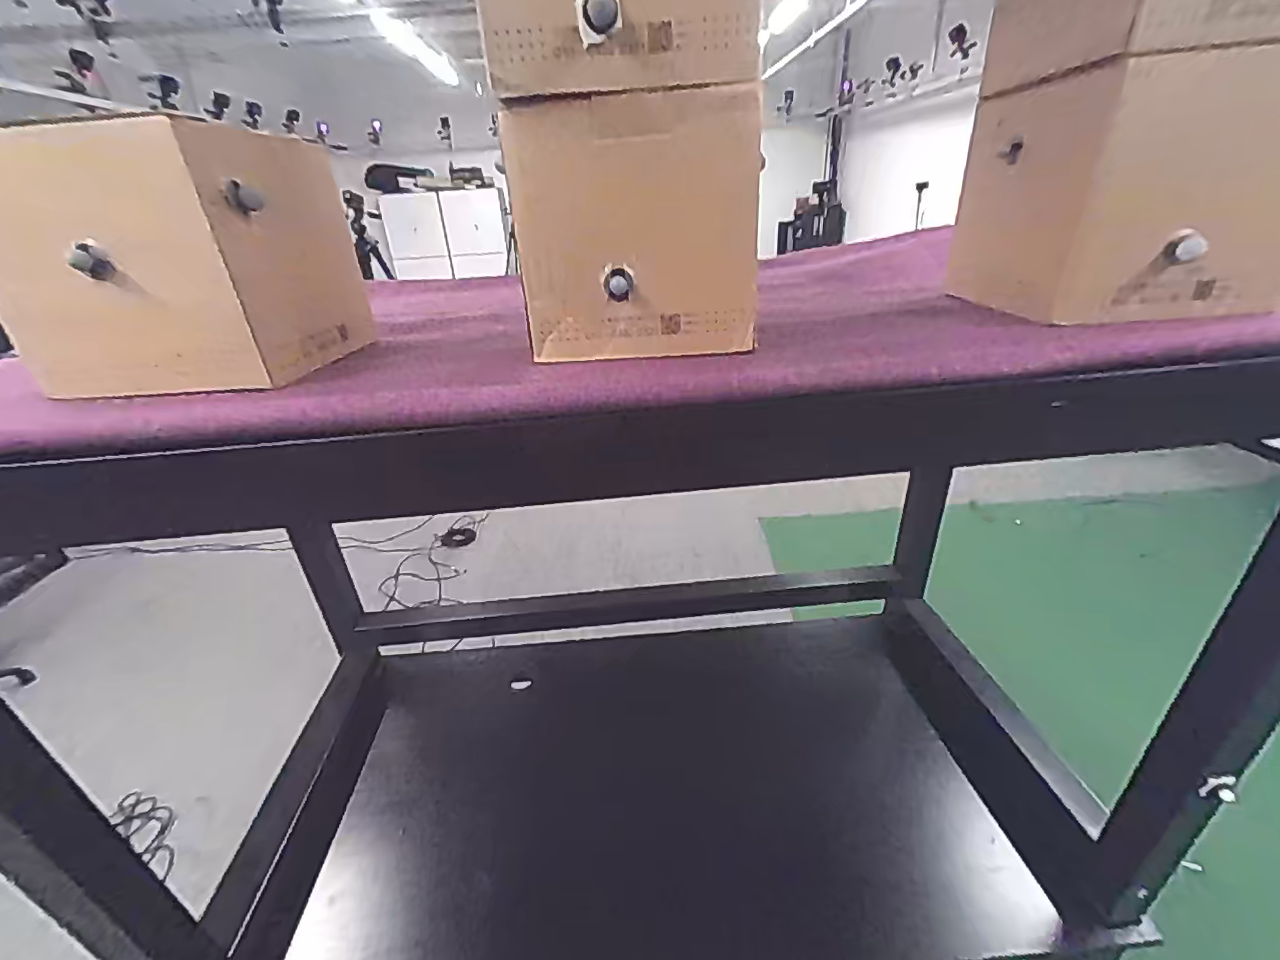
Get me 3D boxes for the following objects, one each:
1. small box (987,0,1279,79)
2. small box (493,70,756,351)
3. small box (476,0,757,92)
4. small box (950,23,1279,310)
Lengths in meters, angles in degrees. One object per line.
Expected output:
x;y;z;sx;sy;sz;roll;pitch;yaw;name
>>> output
0.368;-0.384;0.360;0.168;0.176;0.179;-4;28;4;small box
-0.004;-0.206;0.439;0.168;0.176;0.179;-3;27;3;small box
-0.022;-0.348;0.361;0.168;0.176;0.179;-7;28;-1;small box
0.380;-0.238;0.435;0.168;0.176;0.179;-3;29;4;small box
